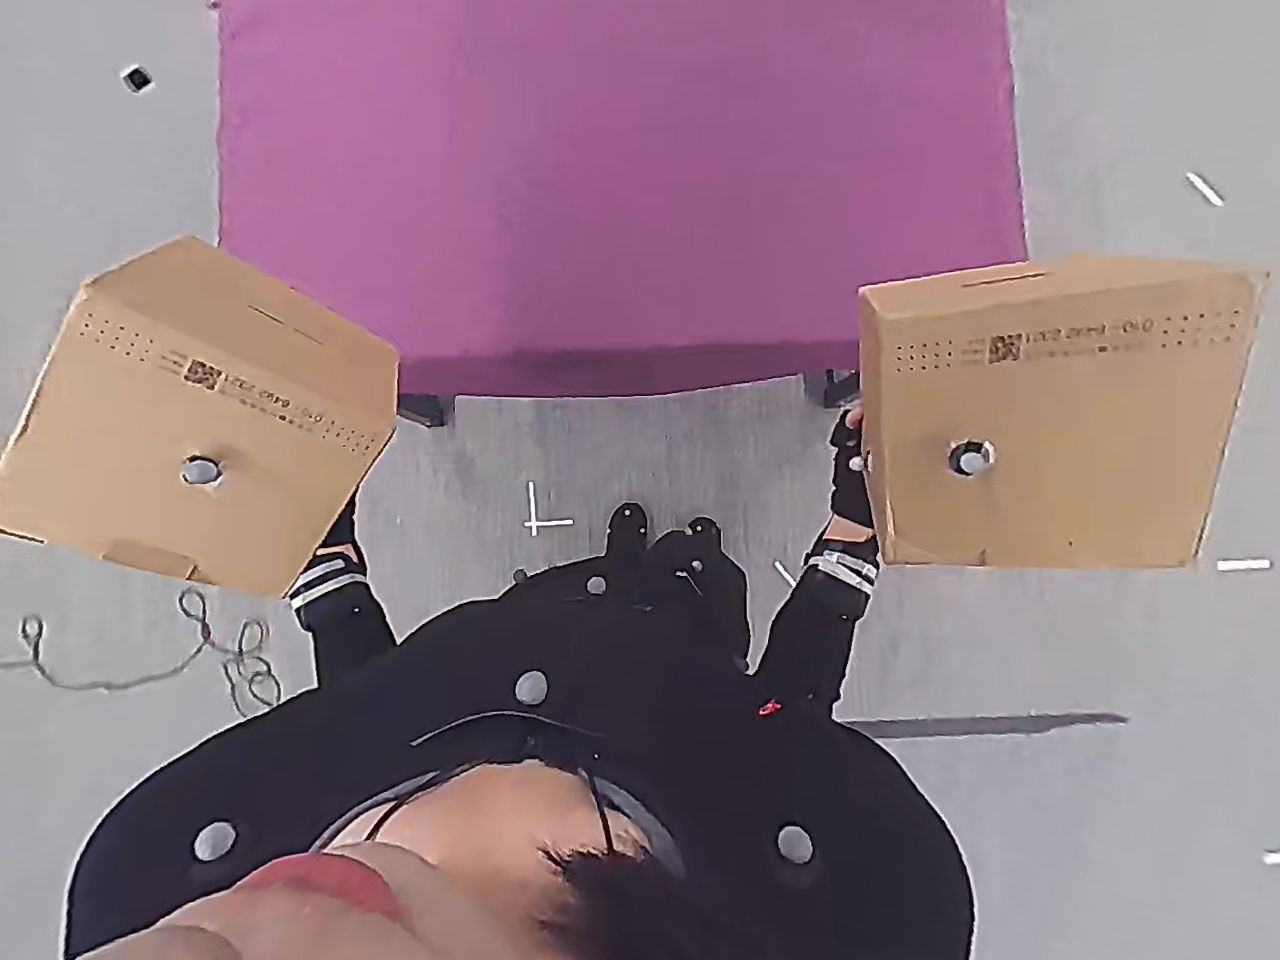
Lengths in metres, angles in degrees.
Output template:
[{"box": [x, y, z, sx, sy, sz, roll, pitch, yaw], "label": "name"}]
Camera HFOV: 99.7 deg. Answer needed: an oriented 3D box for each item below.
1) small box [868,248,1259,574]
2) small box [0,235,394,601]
[{"box": [0.250, -0.053, 0.368, 0.168, 0.179, 0.176, -2, 113, 19], "label": "small box"}, {"box": [-0.298, -0.049, 0.391, 0.168, 0.179, 0.176, 31, 105, -34], "label": "small box"}]
